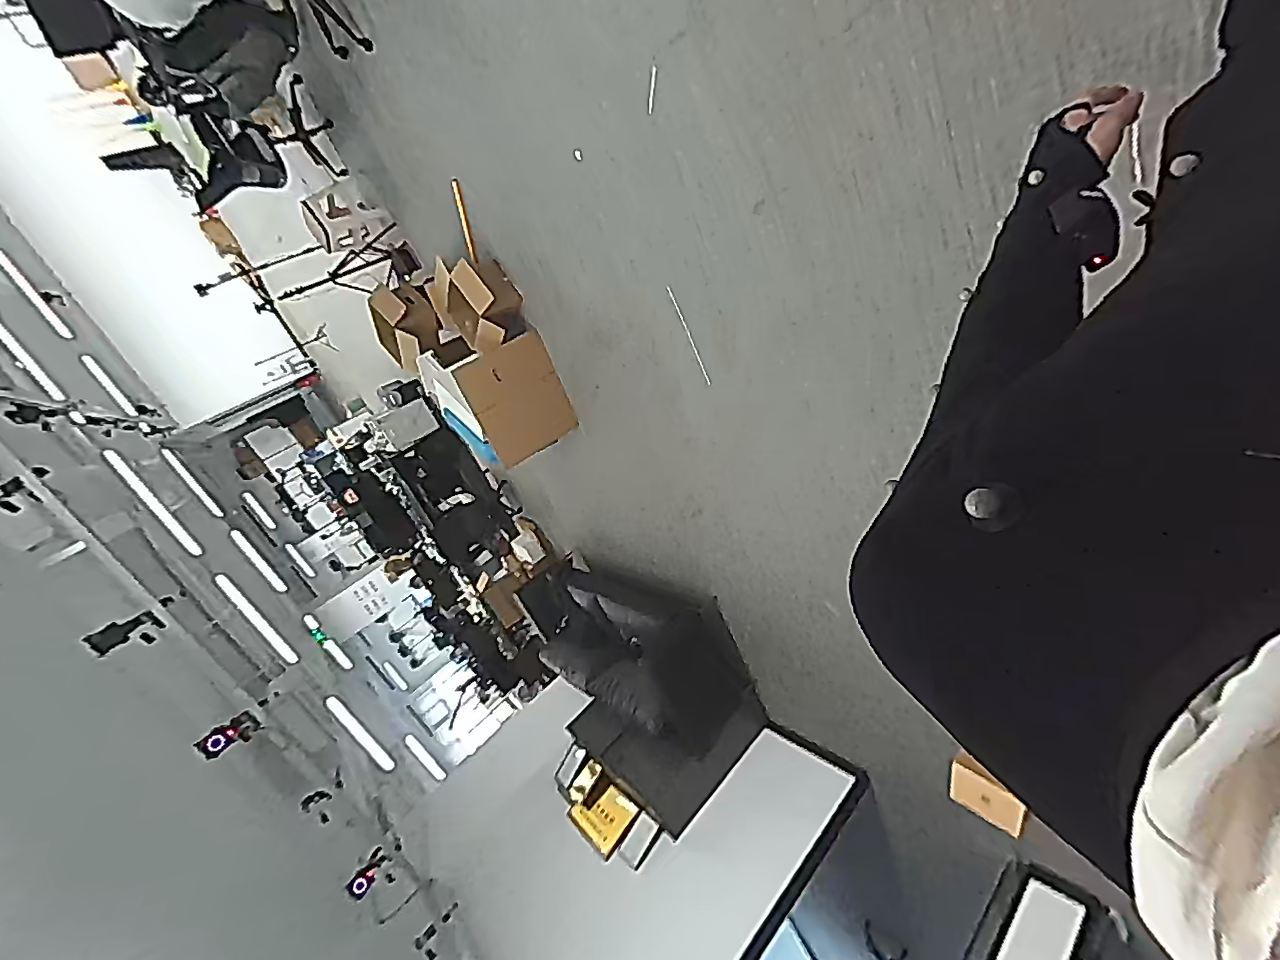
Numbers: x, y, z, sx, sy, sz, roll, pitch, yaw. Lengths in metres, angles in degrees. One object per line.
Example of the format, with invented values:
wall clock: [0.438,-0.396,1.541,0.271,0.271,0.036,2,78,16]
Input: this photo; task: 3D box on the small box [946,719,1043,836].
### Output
small box: [0.930,0.771,1.419,0.168,0.176,0.179,20,138,46]
